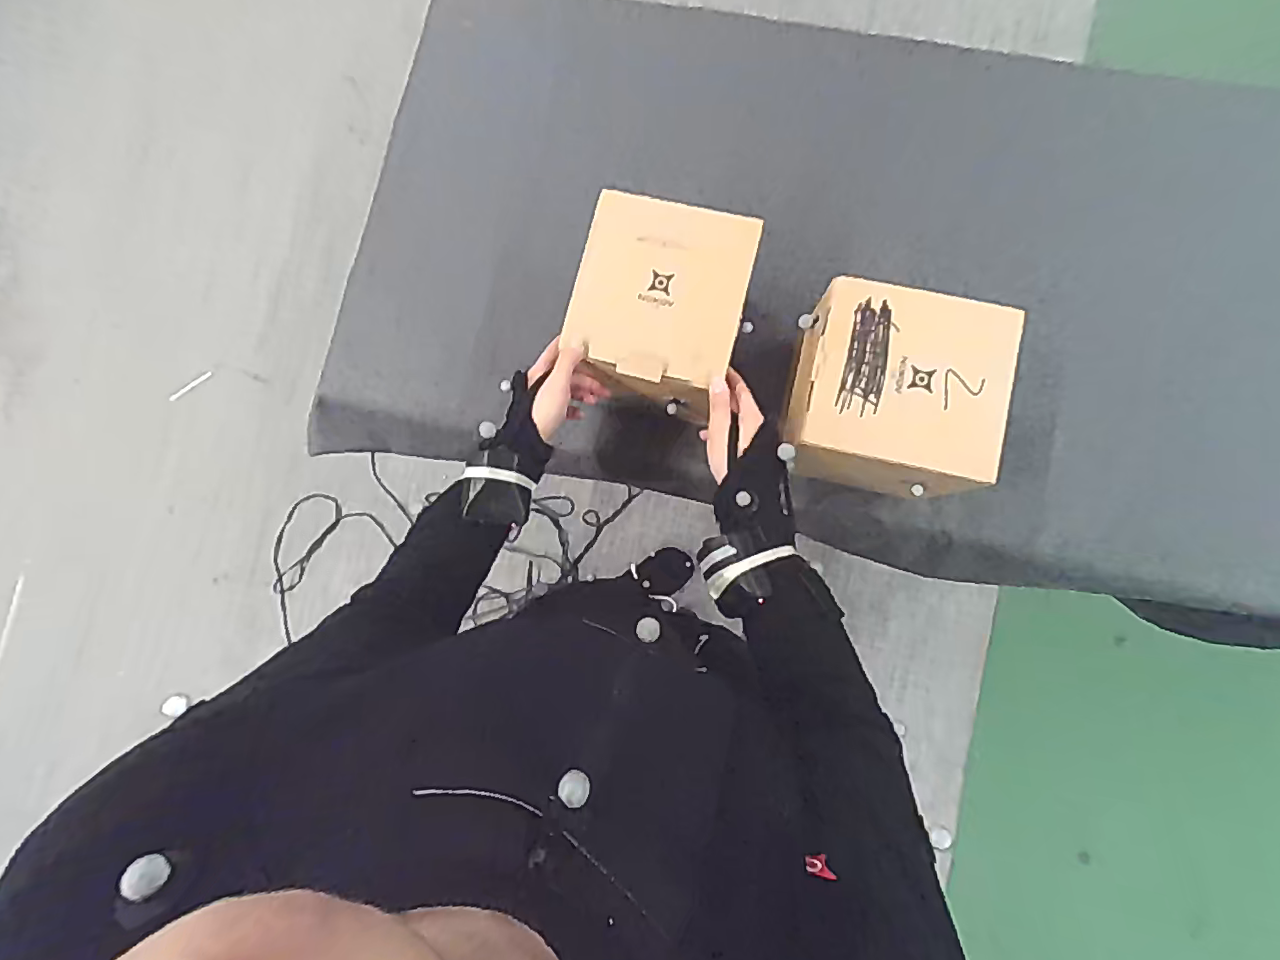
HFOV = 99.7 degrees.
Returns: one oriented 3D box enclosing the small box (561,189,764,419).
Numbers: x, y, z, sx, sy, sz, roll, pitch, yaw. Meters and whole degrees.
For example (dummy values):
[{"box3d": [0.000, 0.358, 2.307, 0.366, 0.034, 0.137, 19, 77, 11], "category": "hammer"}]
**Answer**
[{"box3d": [0.027, -0.179, 0.601, 0.168, 0.176, 0.179, 13, 84, 5], "category": "small box"}]
